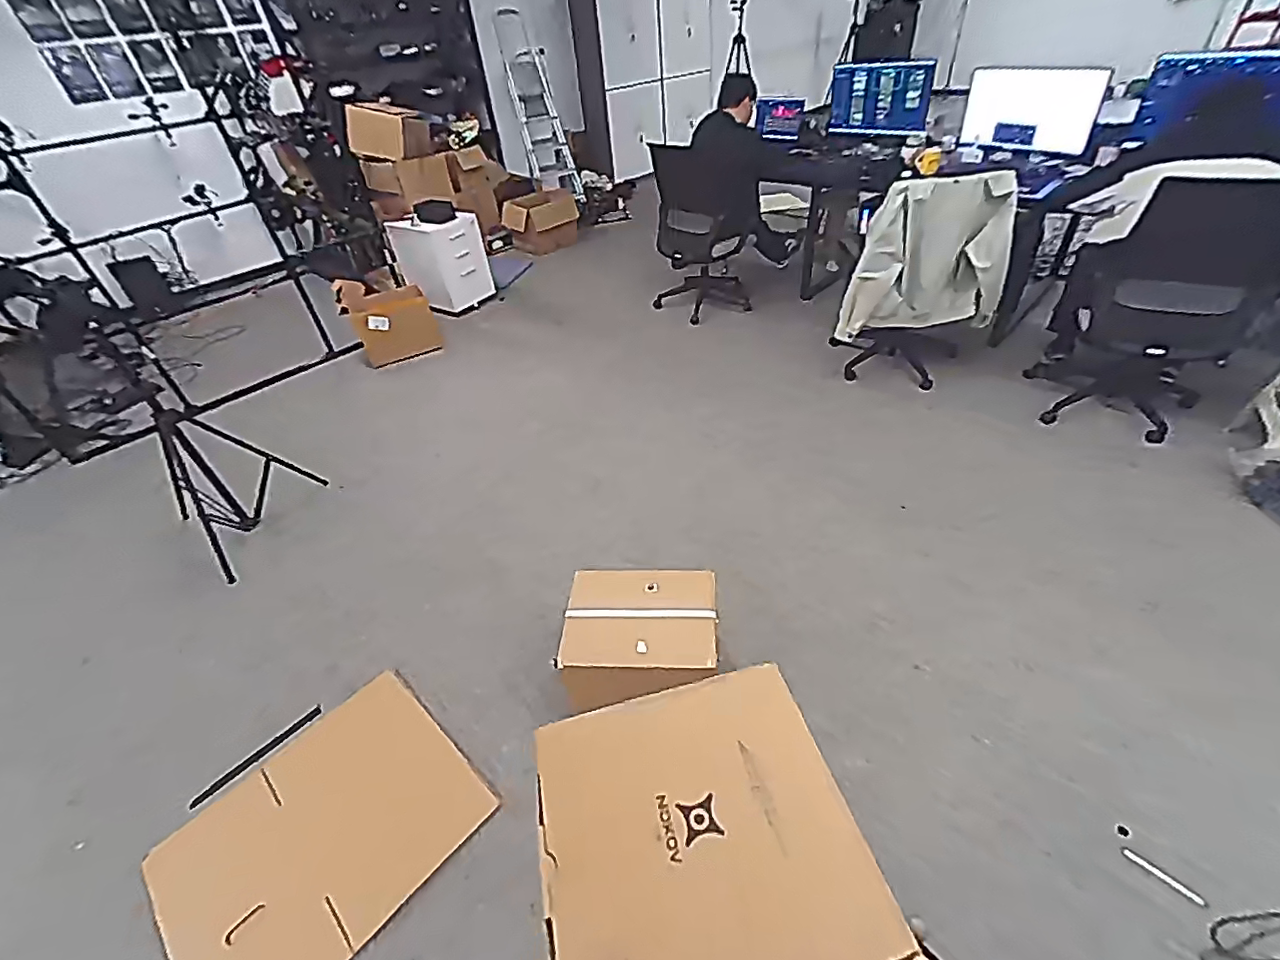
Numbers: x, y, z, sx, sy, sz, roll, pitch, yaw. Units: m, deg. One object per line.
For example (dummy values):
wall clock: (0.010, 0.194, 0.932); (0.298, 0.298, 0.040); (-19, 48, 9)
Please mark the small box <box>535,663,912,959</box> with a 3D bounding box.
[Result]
small box: (0.039, 0.257, 0.358); (0.179, 0.176, 0.168); (-13, 39, -8)
